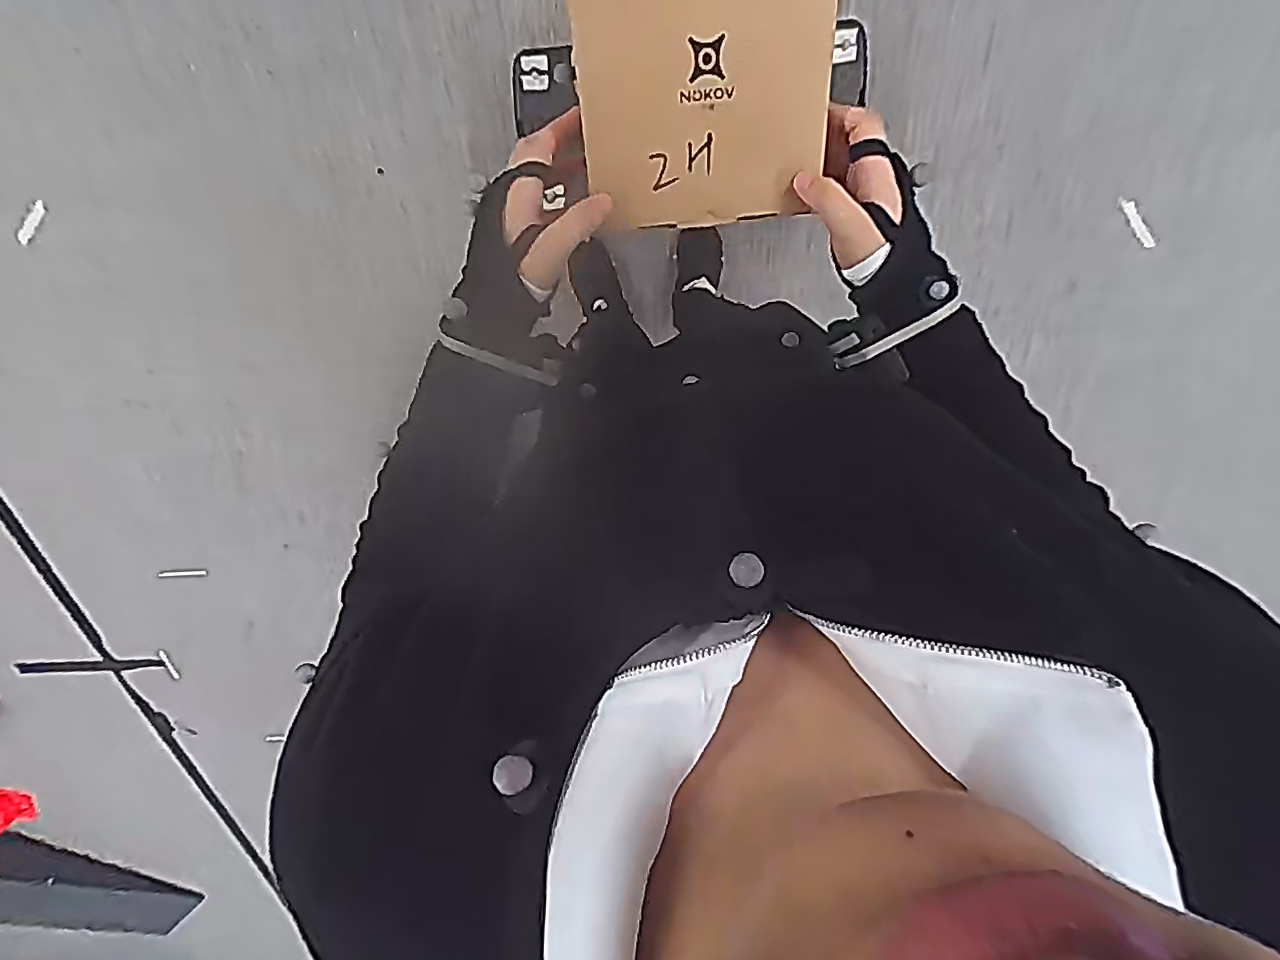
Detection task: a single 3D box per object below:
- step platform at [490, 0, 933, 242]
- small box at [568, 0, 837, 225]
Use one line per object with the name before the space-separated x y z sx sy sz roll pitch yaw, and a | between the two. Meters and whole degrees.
step platform | 0.109 -0.595 0.933 0.684 0.204 0.286 -5 118 1
small box | 0.034 -0.303 0.410 0.168 0.176 0.179 -5 123 -1
